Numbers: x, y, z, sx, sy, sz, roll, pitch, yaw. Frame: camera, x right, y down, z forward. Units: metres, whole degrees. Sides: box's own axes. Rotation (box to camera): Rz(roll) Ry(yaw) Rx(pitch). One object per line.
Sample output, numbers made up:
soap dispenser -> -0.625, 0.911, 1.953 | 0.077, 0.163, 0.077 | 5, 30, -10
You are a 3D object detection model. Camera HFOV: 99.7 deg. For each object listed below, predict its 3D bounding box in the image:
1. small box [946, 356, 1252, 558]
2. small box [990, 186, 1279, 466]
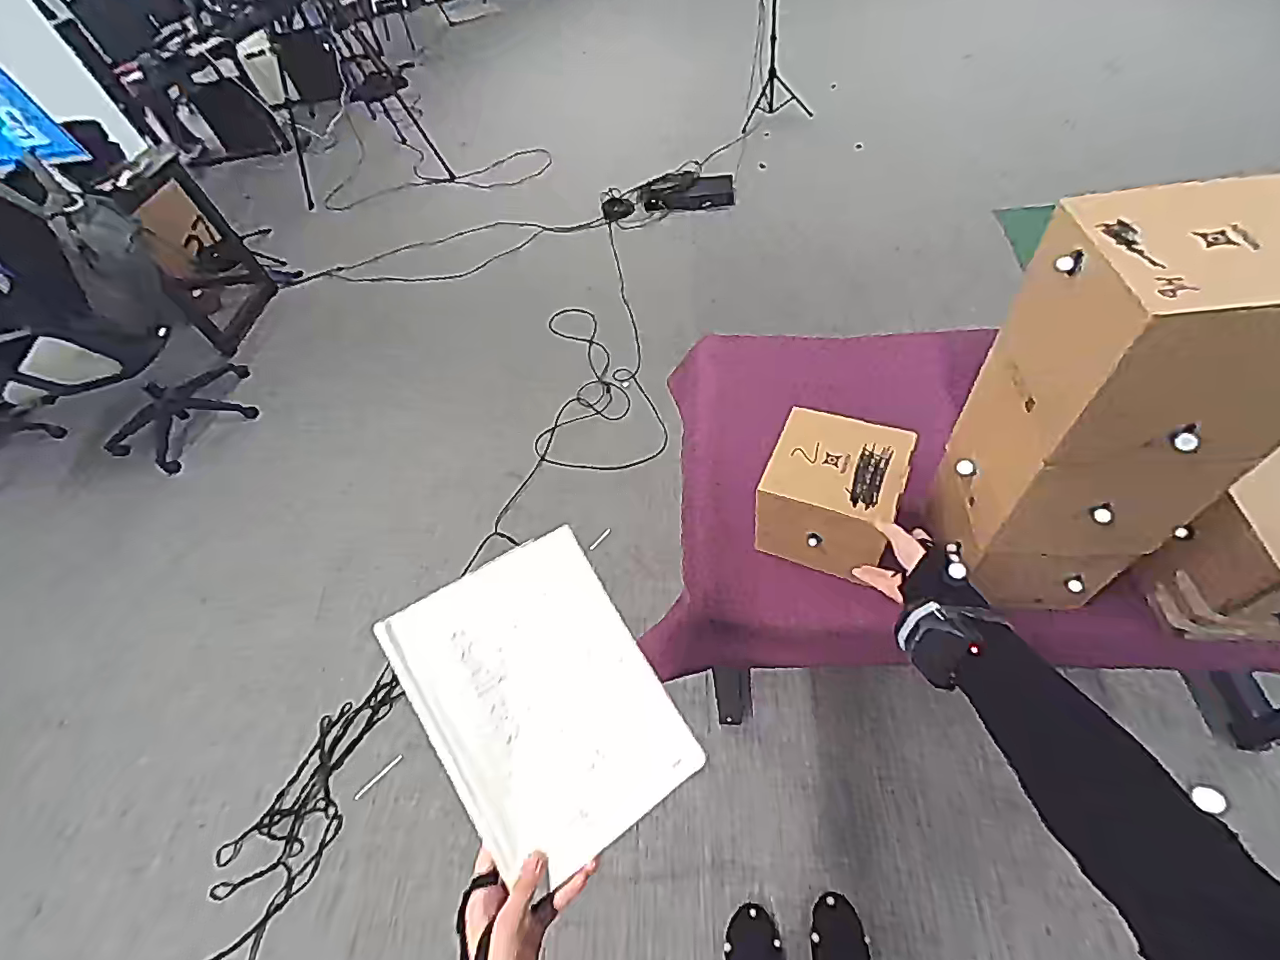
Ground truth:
small box -> 0.472, -0.025, 0.597 | 0.179, 0.176, 0.168 | -1, 52, 10
small box -> 0.447, -0.124, 0.468 | 0.179, 0.176, 0.168 | -1, 51, 9
